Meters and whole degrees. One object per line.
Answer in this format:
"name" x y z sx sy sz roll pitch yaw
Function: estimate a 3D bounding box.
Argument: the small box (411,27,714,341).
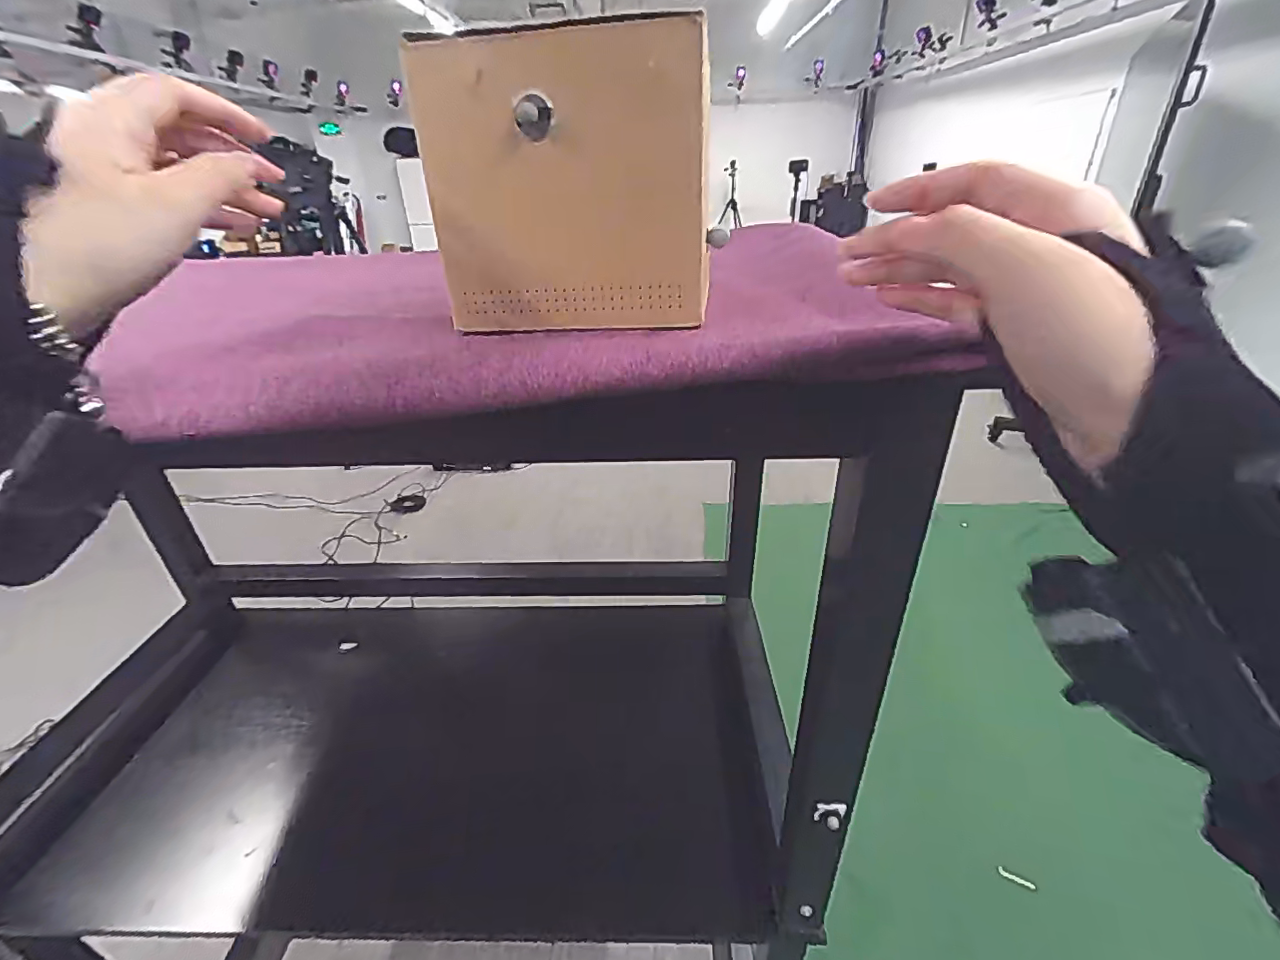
"small box" -0.035 -0.204 0.406 0.179 0.176 0.168 2 28 8
